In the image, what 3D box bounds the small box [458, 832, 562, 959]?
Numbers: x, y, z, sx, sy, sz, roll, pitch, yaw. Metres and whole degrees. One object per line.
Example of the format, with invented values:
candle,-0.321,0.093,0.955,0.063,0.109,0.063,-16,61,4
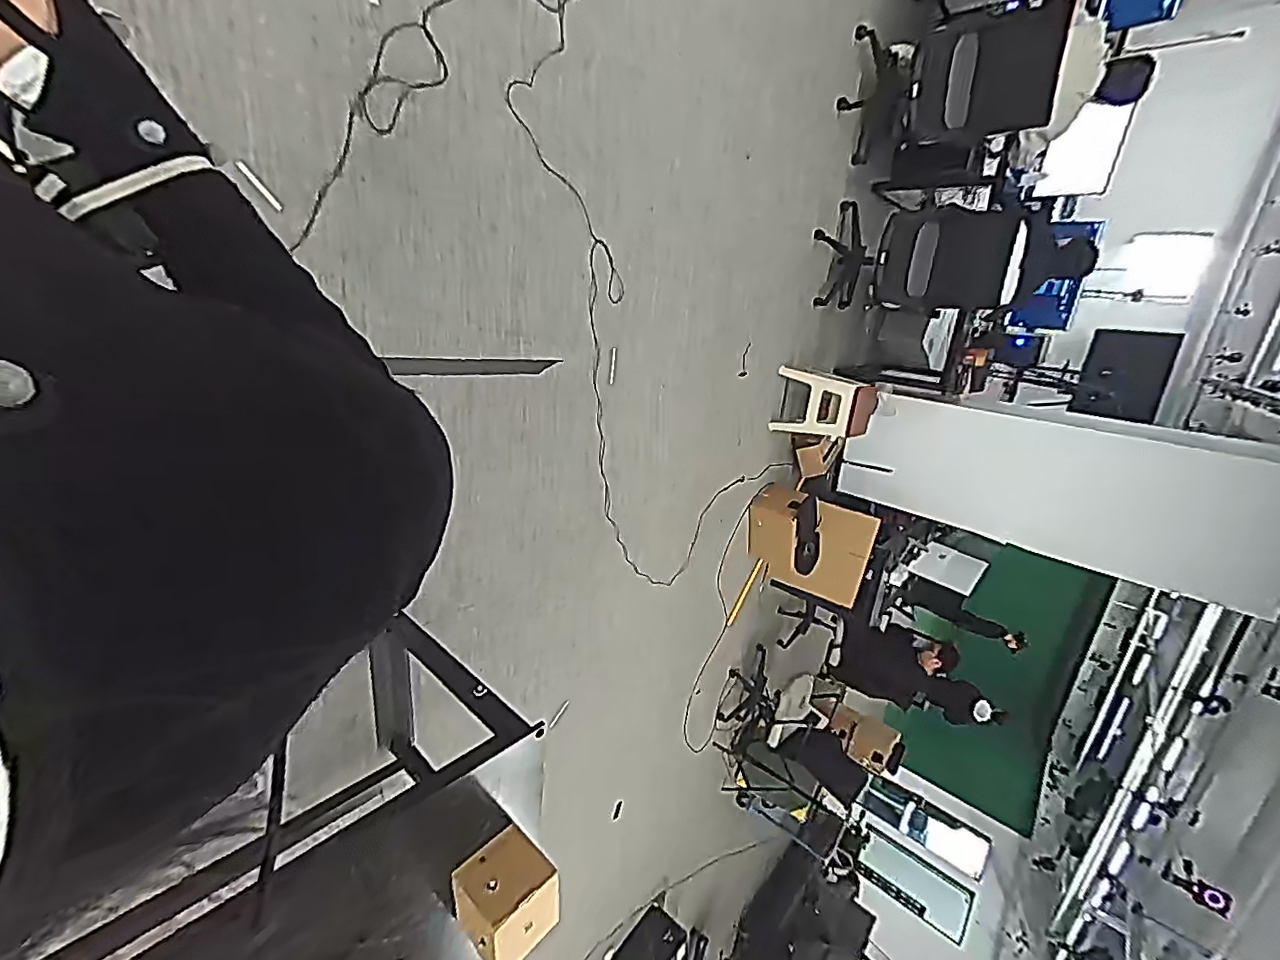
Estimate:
small box,-0.292,0.935,1.209,0.168,0.176,0.179,-20,121,-44
